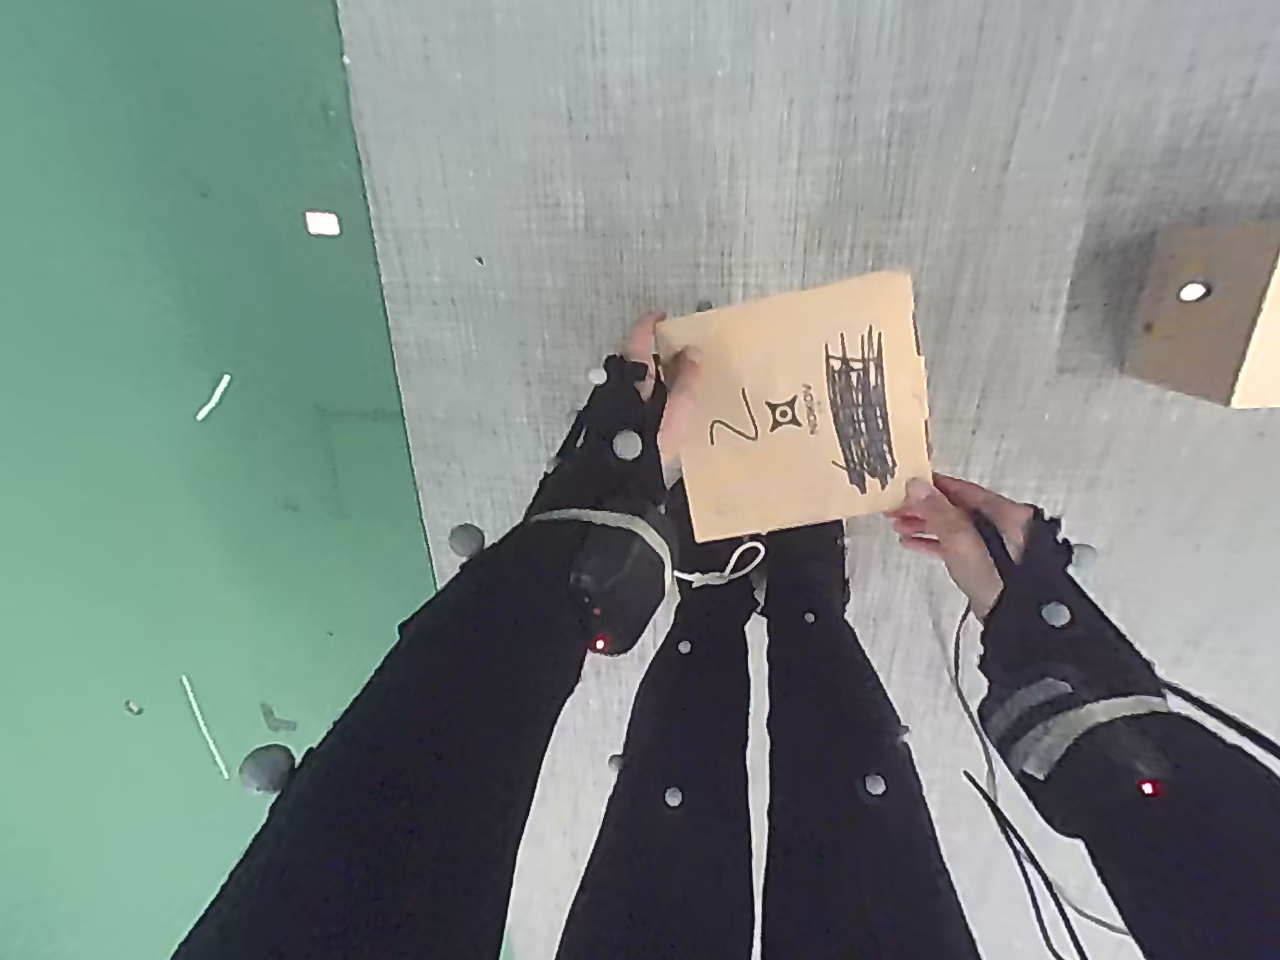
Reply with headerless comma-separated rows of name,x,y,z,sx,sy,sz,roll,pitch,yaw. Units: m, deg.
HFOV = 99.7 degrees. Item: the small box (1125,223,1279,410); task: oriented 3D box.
small box,0.652,-0.169,0.545,0.179,0.176,0.168,-1,111,9
